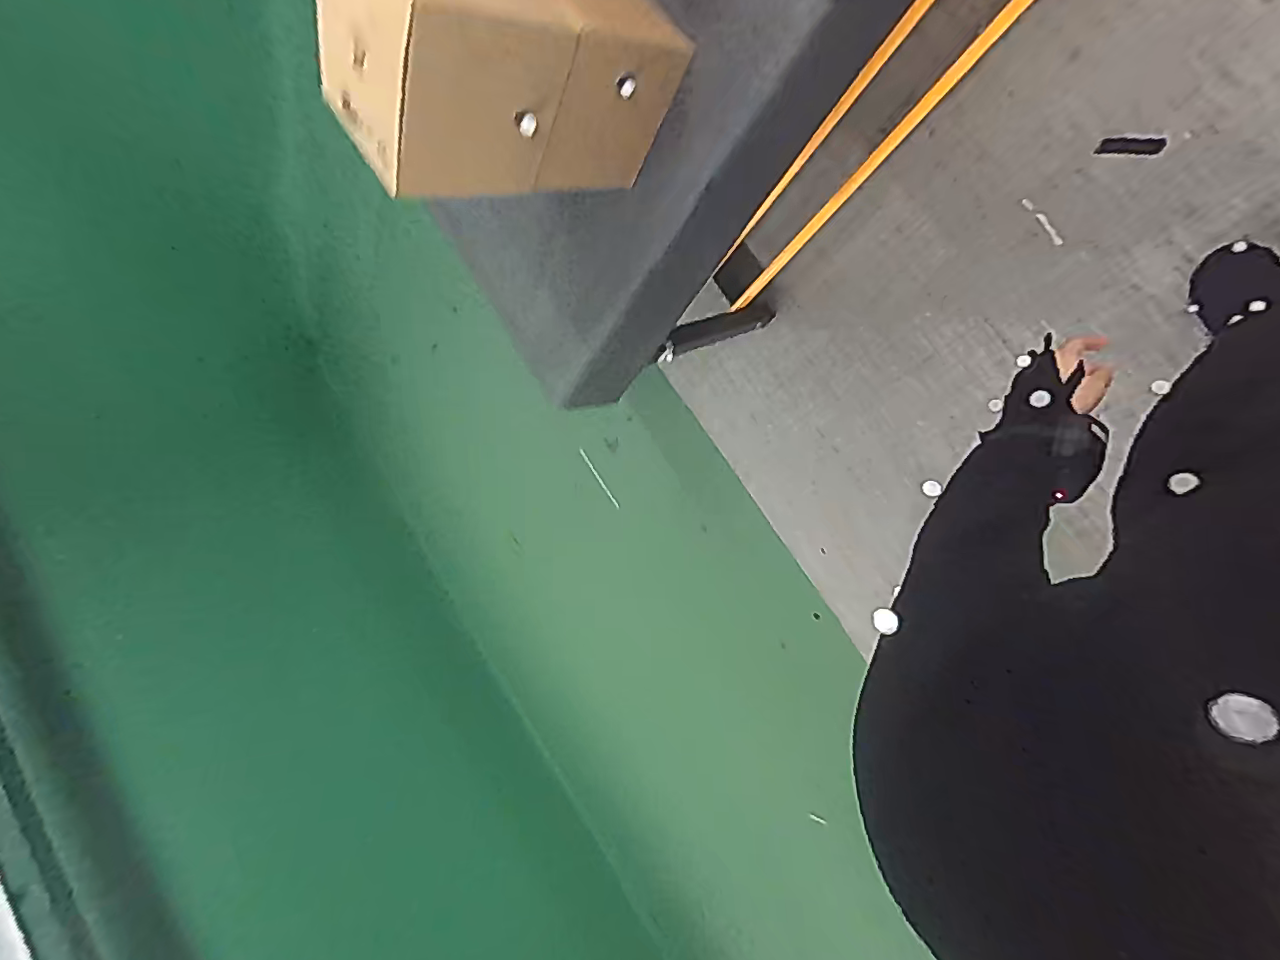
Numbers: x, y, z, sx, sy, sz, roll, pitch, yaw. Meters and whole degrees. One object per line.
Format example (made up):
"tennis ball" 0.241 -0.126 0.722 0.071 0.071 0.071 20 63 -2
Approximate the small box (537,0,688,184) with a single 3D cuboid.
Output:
"small box" -0.069 -0.486 0.642 0.168 0.176 0.179 55 142 12

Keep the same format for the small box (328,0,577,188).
"small box" -0.187 -0.427 0.544 0.168 0.176 0.179 56 141 11
